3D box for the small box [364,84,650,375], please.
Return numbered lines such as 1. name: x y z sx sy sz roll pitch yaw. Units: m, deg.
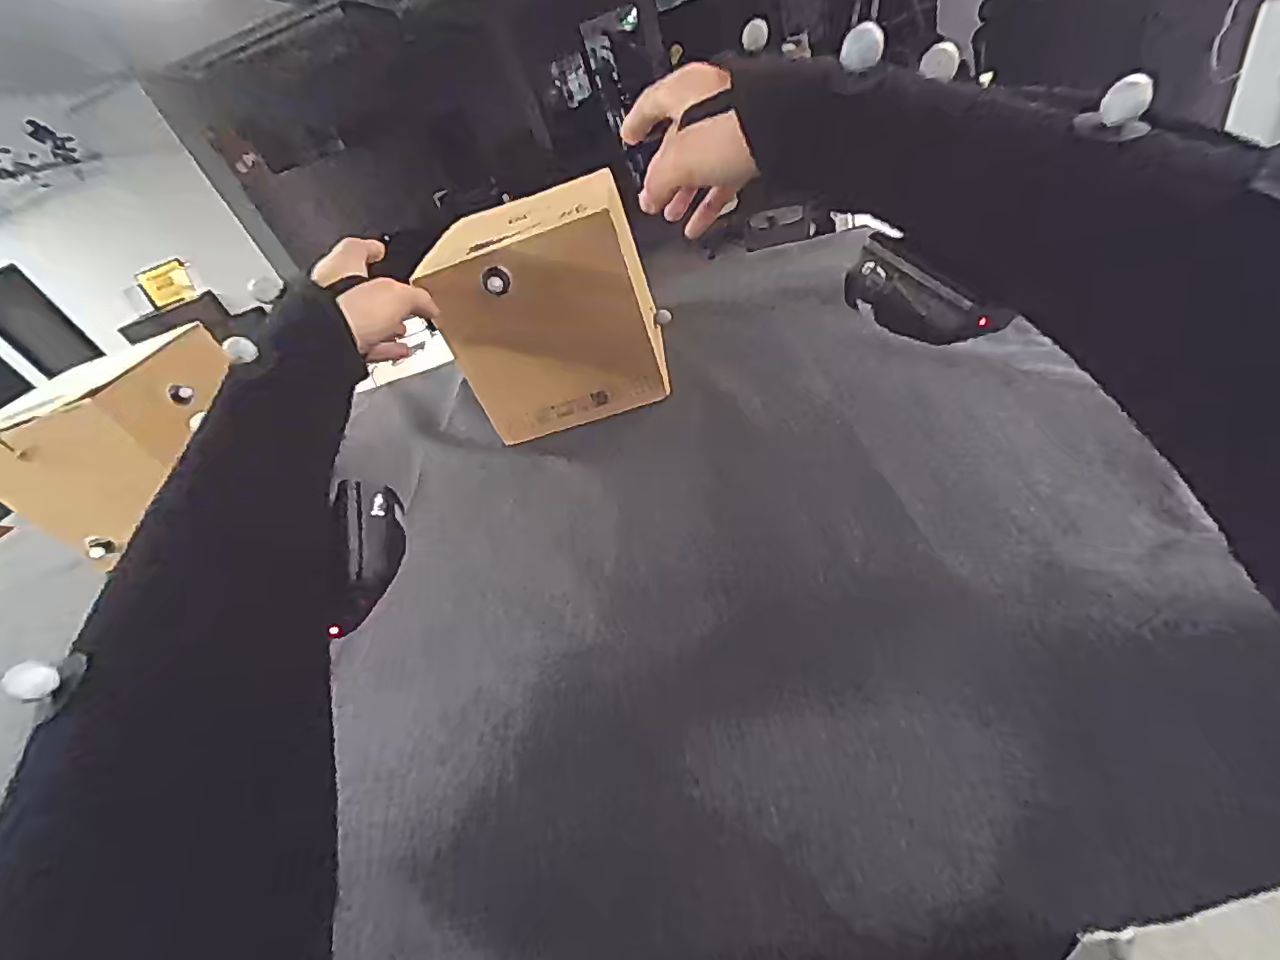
1. small box: -0.094 -0.218 0.475 0.168 0.176 0.179 -15 38 9
